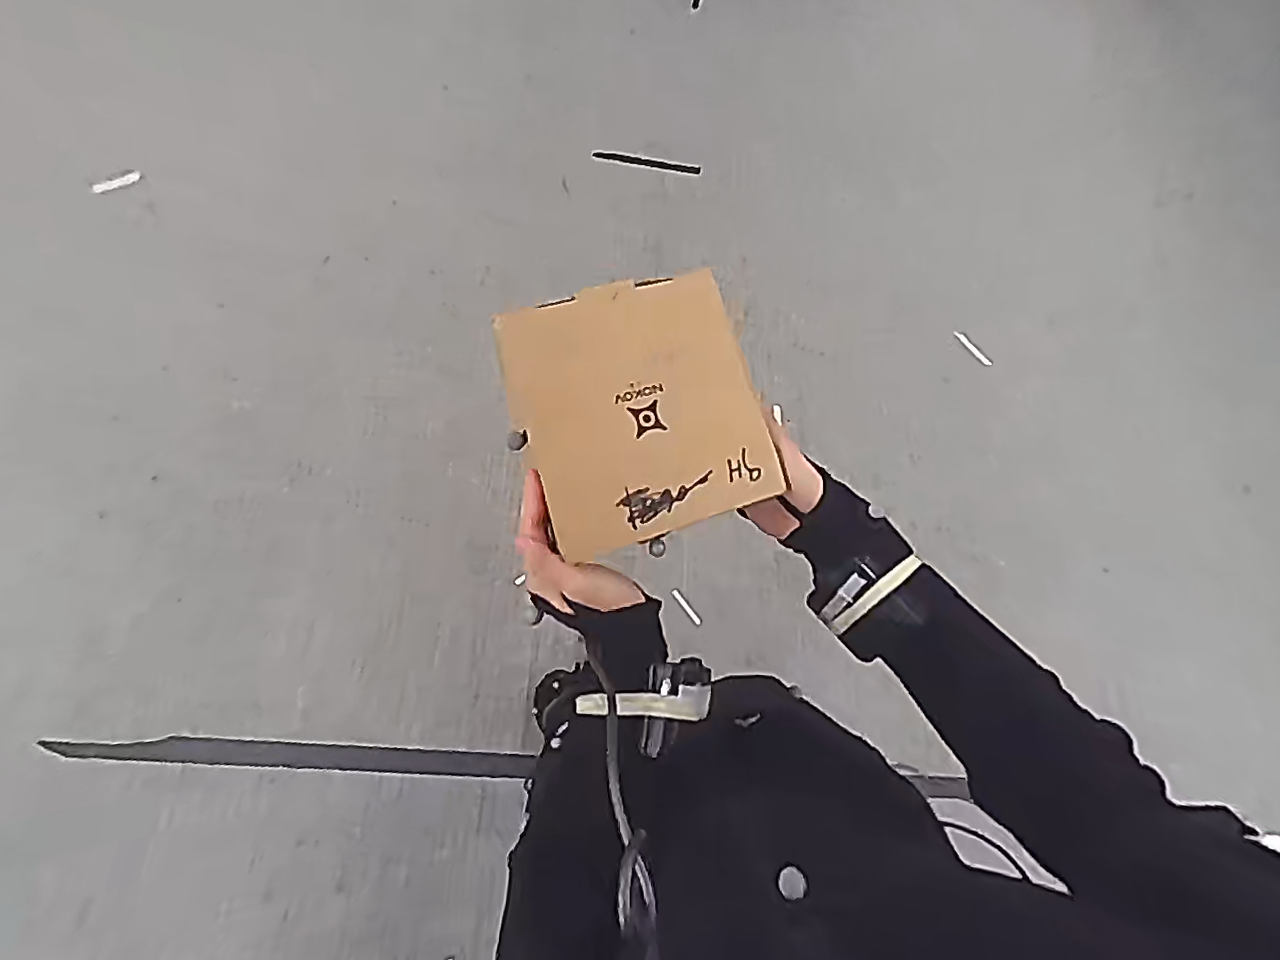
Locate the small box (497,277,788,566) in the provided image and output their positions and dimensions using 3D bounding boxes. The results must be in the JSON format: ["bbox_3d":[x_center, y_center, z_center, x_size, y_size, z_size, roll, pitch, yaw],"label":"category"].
[{"bbox_3d":[-0.012,-0.034,0.451,0.168,0.176,0.179,-18,85,-13],"label":"small box"}]
